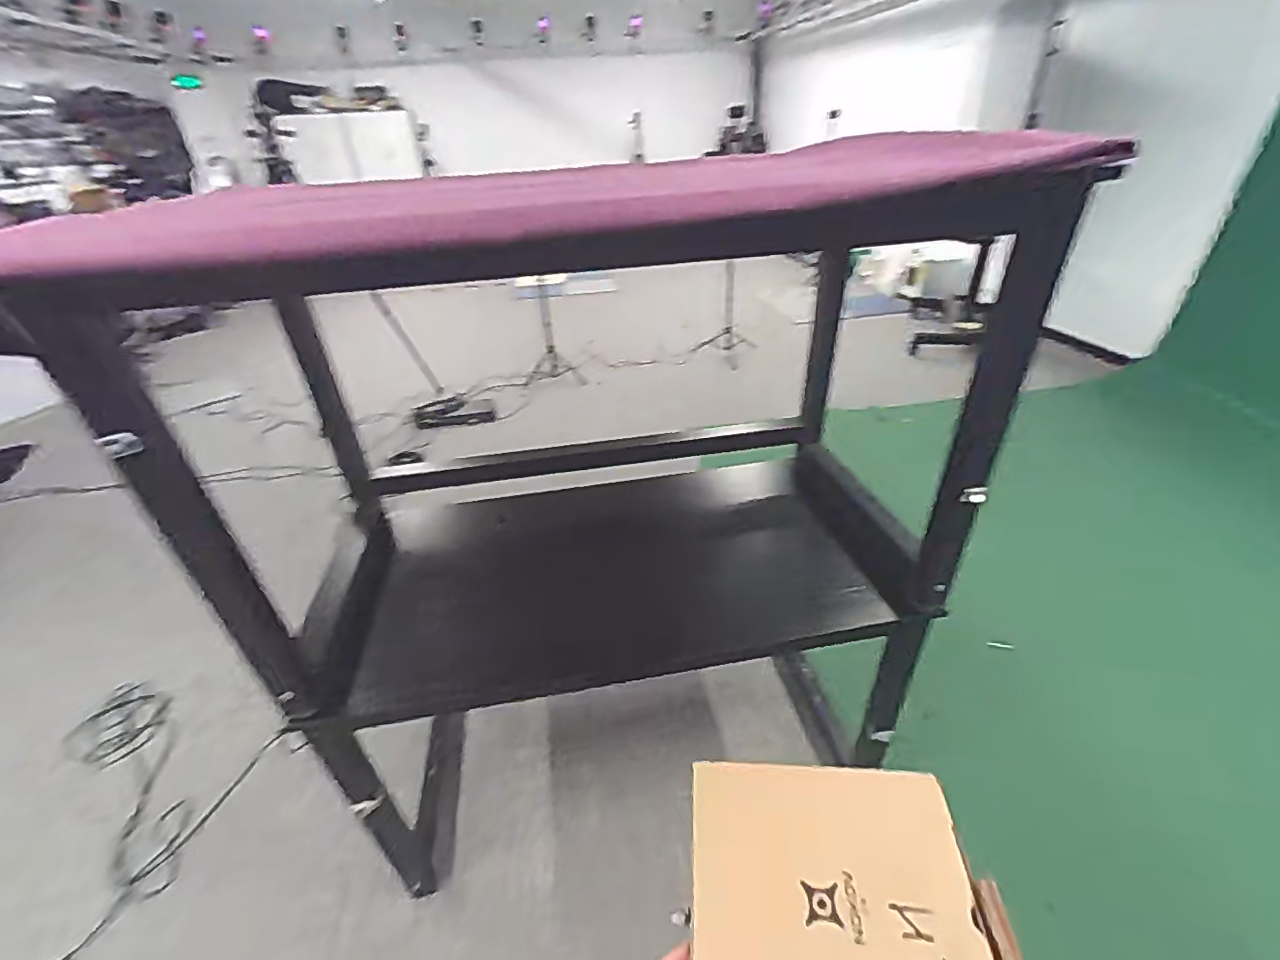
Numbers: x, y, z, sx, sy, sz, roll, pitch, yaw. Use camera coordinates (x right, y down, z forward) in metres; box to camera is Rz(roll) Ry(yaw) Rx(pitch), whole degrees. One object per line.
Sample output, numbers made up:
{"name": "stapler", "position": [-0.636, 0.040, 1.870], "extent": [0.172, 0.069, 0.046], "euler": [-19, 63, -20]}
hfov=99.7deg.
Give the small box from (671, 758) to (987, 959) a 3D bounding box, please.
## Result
{"name": "small box", "position": [0.112, 0.314, 0.371], "extent": [0.179, 0.176, 0.168], "euler": [1, 41, 5]}
